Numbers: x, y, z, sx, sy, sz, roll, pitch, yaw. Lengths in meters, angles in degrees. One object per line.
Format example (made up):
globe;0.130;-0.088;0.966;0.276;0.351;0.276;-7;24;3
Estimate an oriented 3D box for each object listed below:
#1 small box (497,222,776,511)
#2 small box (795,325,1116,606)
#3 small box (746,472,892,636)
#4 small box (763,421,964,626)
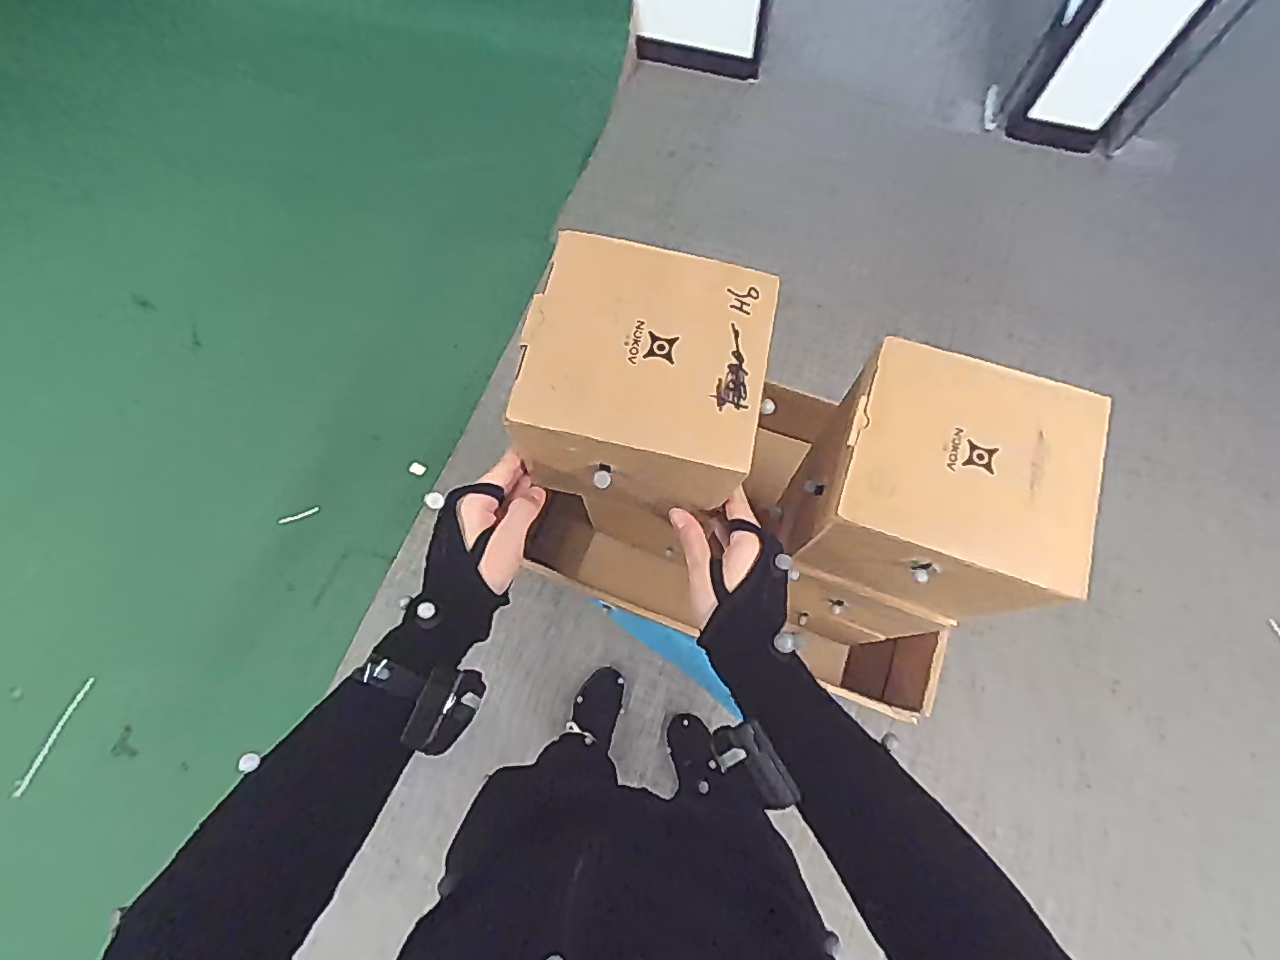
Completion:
small box;0.000;-0.081;0.463;0.179;0.176;0.168;12;73;1
small box;0.251;0.000;0.471;0.179;0.176;0.168;20;74;10
small box;0.264;0.116;0.777;0.179;0.176;0.168;21;73;10
small box;0.257;0.060;0.623;0.179;0.176;0.168;19;72;11
